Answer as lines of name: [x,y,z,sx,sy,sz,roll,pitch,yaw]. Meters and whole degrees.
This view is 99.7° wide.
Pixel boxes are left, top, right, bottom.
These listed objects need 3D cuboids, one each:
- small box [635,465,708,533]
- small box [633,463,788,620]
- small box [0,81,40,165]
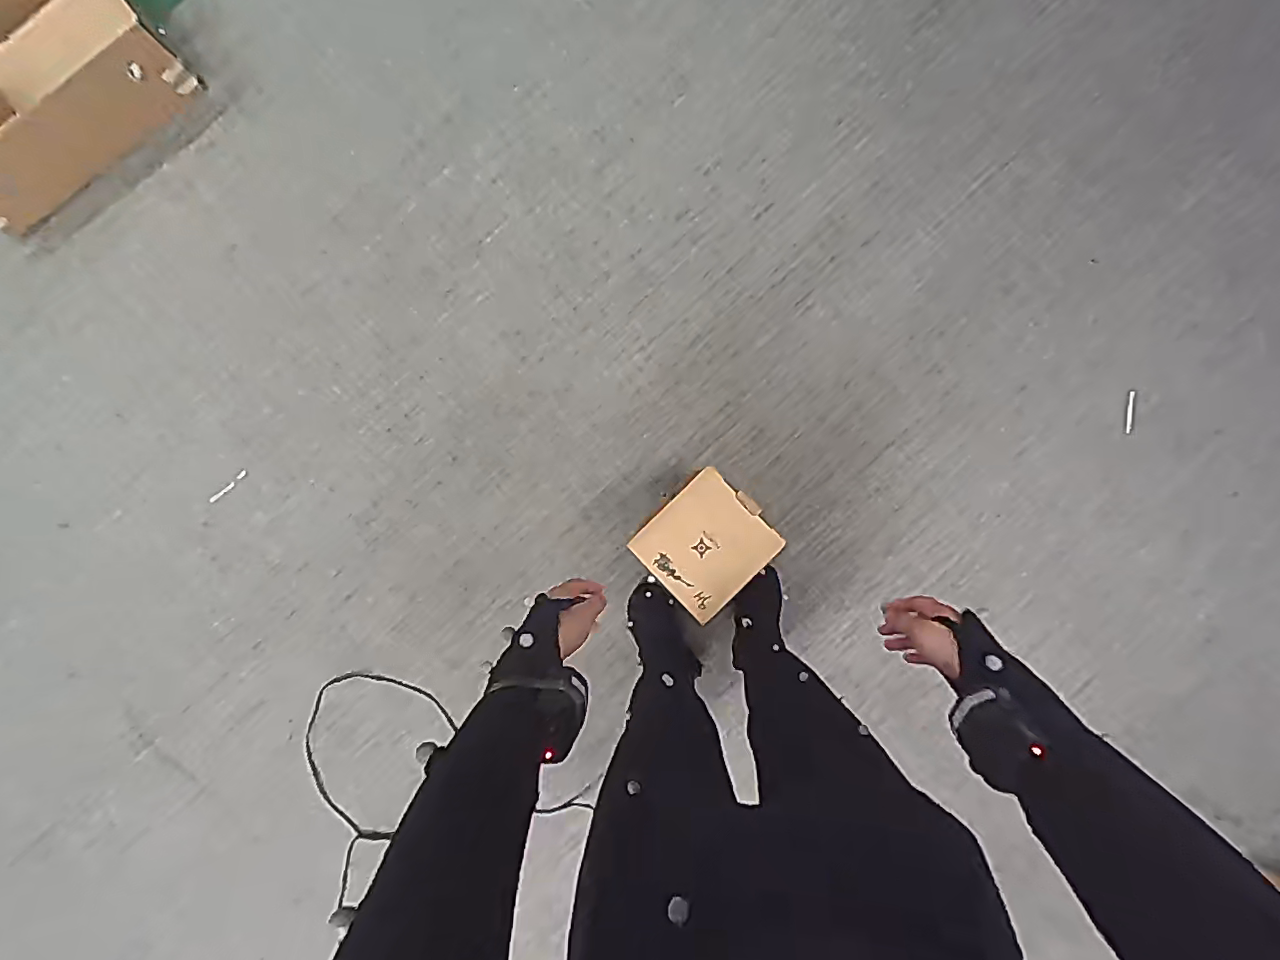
small box: [0.106,0.089,1.042,0.179,0.176,0.168,-43,87,1]
small box: [0.103,0.093,0.878,0.179,0.176,0.168,-43,87,-1]
small box: [-1.536,-0.849,1.206,0.168,0.176,0.179,-42,89,0]
